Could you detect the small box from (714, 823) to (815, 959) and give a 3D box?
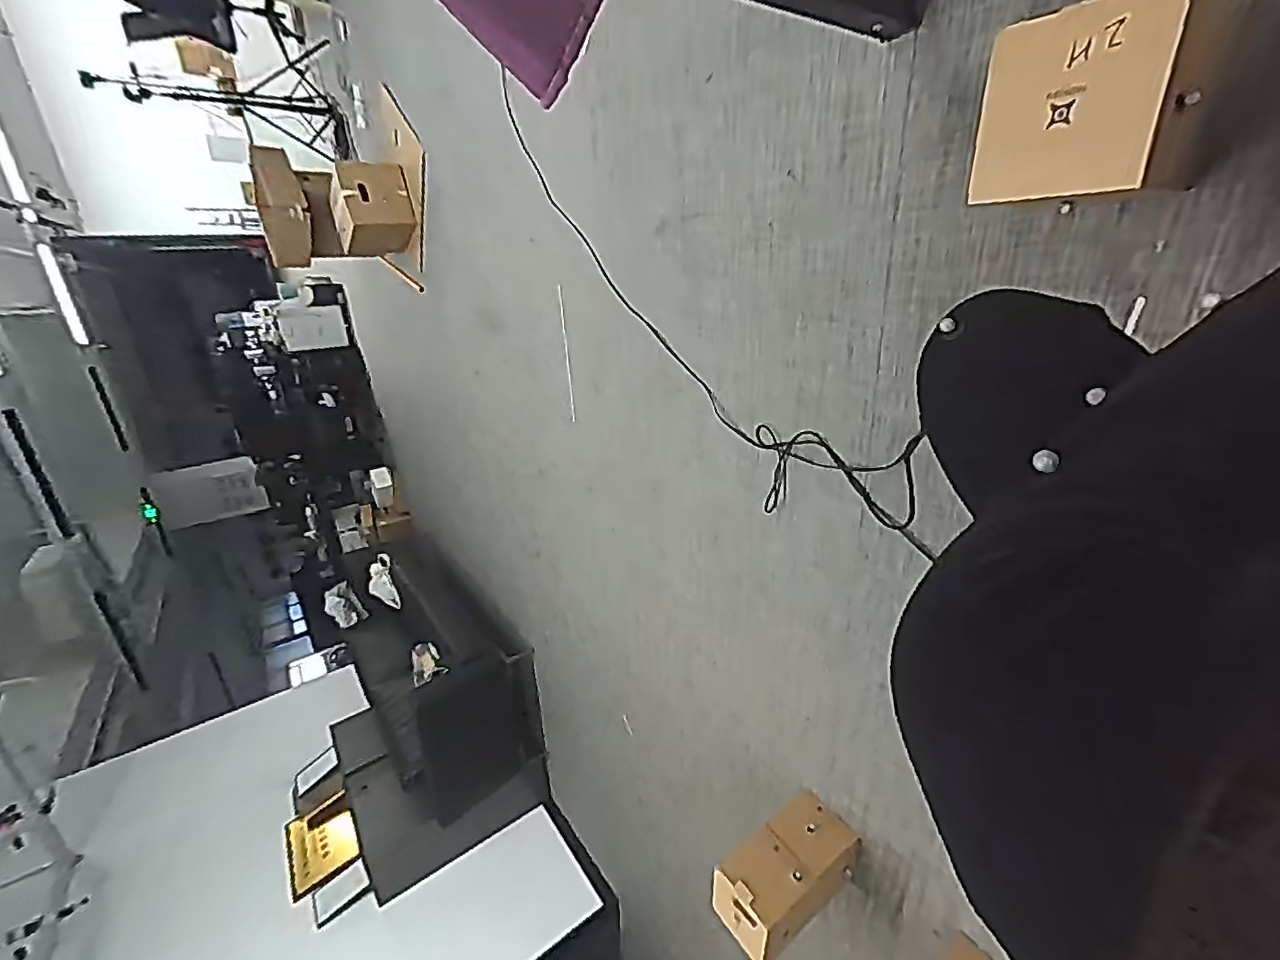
[{"bbox_3d":[0.296,0.972,1.289,0.168,0.176,0.179,30,130,48],"label":"small box"}]

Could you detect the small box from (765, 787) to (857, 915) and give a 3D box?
[{"bbox_3d":[0.430,0.935,1.379,0.168,0.176,0.179,29,127,49],"label":"small box"}]
